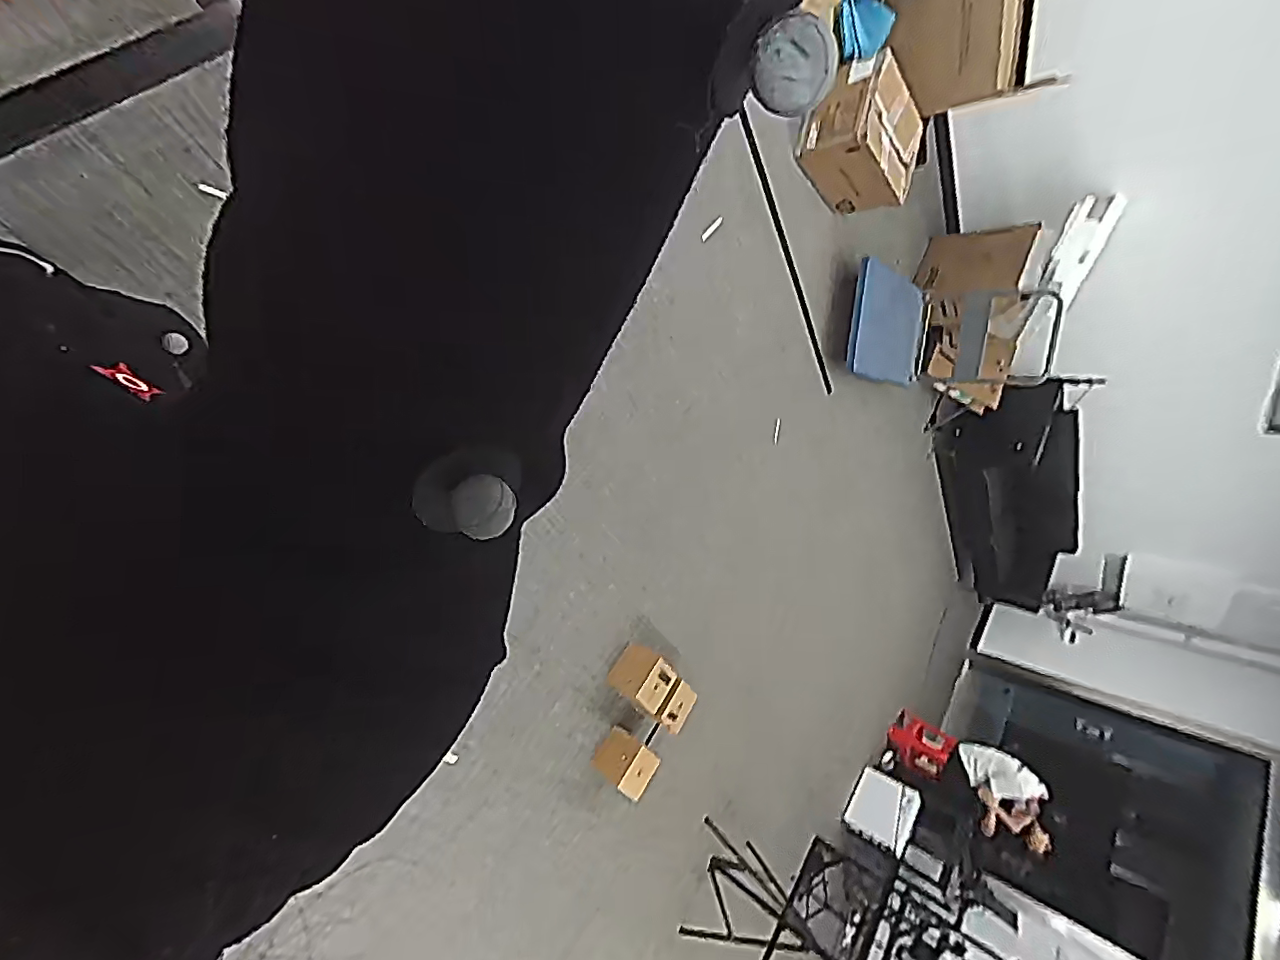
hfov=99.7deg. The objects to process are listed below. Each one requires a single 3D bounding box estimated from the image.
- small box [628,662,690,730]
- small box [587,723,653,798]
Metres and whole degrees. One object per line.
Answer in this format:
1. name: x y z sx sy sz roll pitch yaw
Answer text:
1. small box: 0.072 0.893 2.240 0.179 0.176 0.168 -53 131 -24
2. small box: -0.087 1.100 2.126 0.179 0.176 0.168 -52 131 -25
